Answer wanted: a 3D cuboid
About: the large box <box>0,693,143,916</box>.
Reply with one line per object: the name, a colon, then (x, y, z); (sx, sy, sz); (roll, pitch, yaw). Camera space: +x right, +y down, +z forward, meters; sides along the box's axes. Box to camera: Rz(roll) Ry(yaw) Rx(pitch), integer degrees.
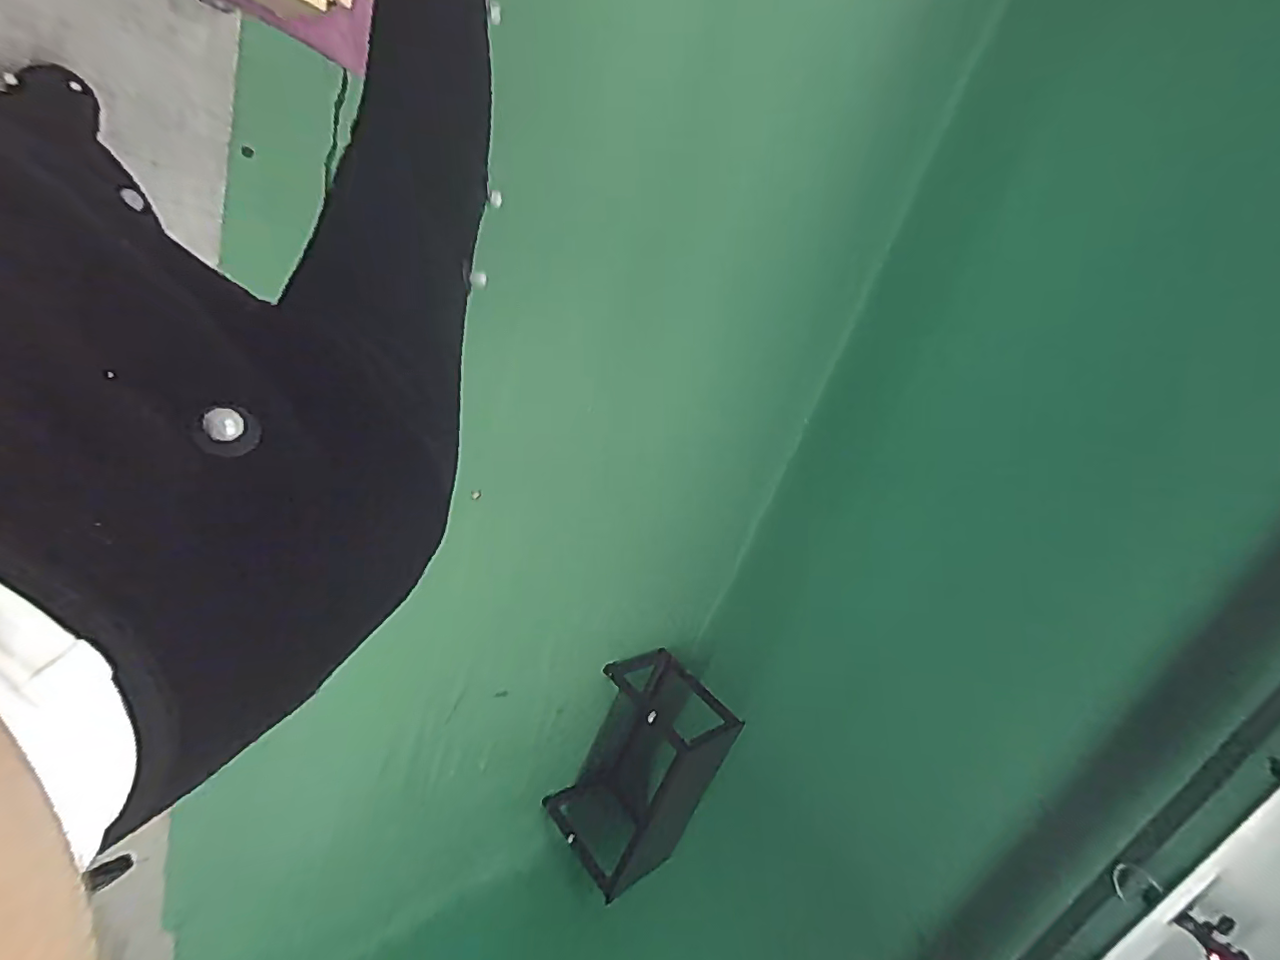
large box: (-1.612, 0.842, 1.375); (0.408, 0.320, 0.320); (-34, 140, -26)
